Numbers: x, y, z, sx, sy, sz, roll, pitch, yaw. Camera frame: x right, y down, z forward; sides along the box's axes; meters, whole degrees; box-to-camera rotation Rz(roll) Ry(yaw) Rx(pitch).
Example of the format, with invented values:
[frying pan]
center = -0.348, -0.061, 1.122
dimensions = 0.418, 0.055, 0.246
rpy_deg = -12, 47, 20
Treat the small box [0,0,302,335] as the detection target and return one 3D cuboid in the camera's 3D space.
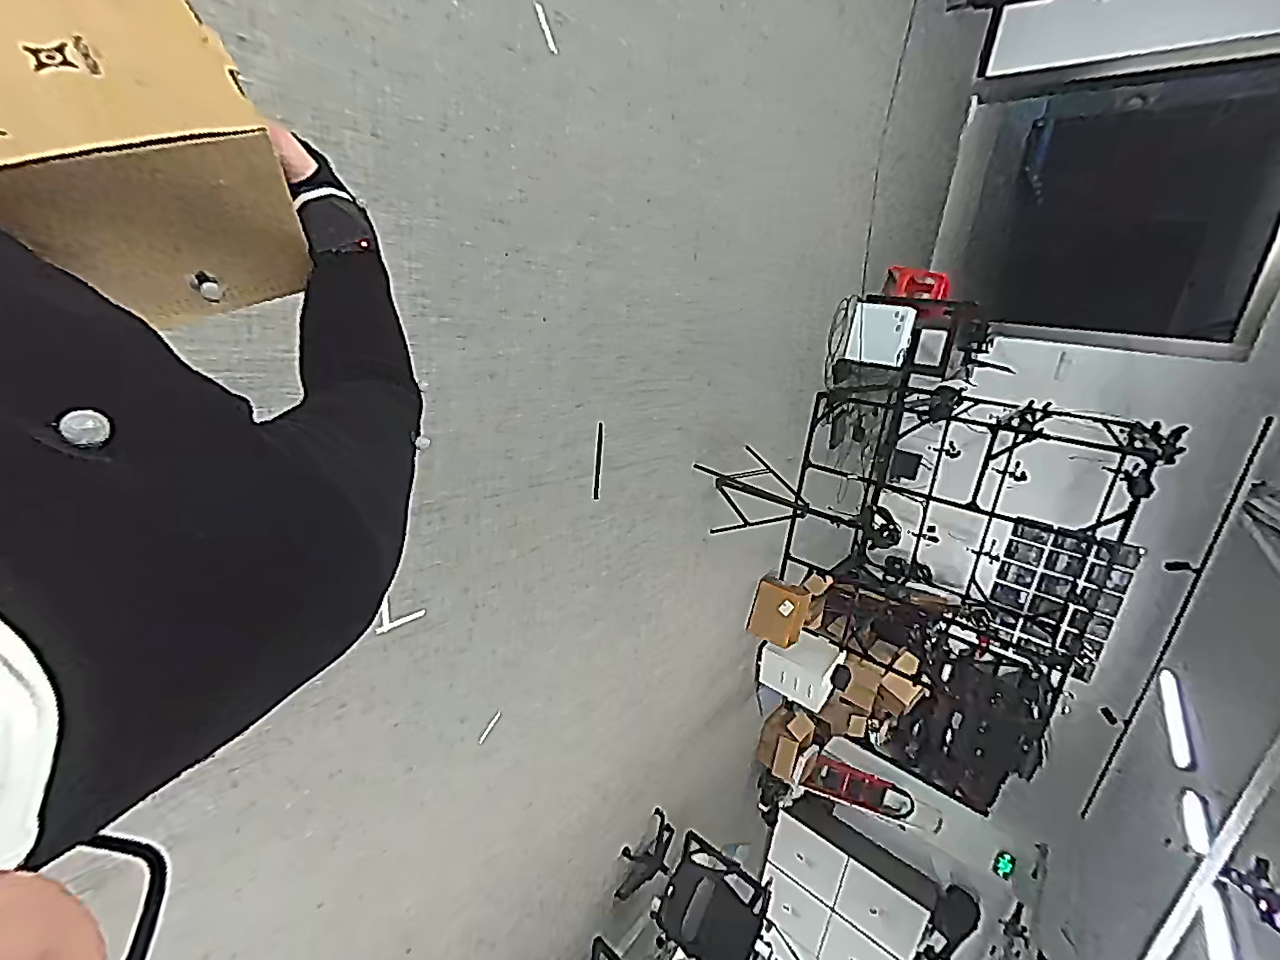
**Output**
[small box]
center = -0.410, -0.252, 0.446
dimensions = 0.179, 0.168, 0.176
rpy_deg = -29, 170, -26
